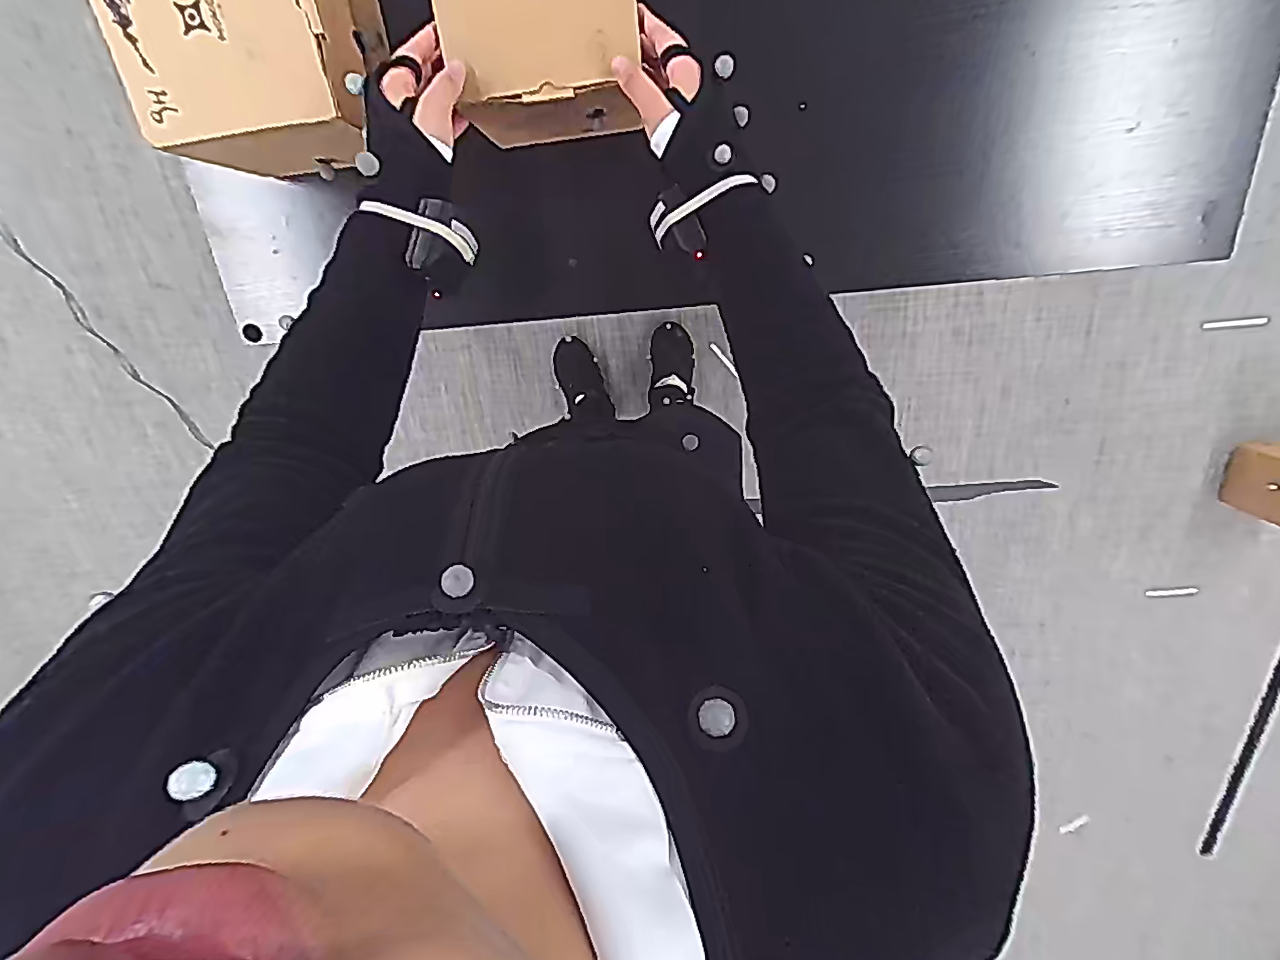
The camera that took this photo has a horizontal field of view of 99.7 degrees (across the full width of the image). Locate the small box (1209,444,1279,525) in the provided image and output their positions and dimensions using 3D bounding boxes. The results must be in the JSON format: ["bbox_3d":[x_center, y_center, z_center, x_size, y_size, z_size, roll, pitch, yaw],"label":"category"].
[{"bbox_3d":[1.701,0.009,1.447,0.168,0.176,0.179,-4,112,3],"label":"small box"}]

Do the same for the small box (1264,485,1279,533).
[{"bbox_3d":[1.694,0.071,1.294,0.179,0.176,0.168,-4,111,3],"label":"small box"}]

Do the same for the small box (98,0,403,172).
[{"bbox_3d":[-0.347,-0.406,0.511,0.179,0.176,0.168,-7,111,1],"label":"small box"}]

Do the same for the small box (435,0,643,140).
[{"bbox_3d":[-0.086,-0.435,0.502,0.168,0.176,0.179,-7,110,2],"label":"small box"}]
